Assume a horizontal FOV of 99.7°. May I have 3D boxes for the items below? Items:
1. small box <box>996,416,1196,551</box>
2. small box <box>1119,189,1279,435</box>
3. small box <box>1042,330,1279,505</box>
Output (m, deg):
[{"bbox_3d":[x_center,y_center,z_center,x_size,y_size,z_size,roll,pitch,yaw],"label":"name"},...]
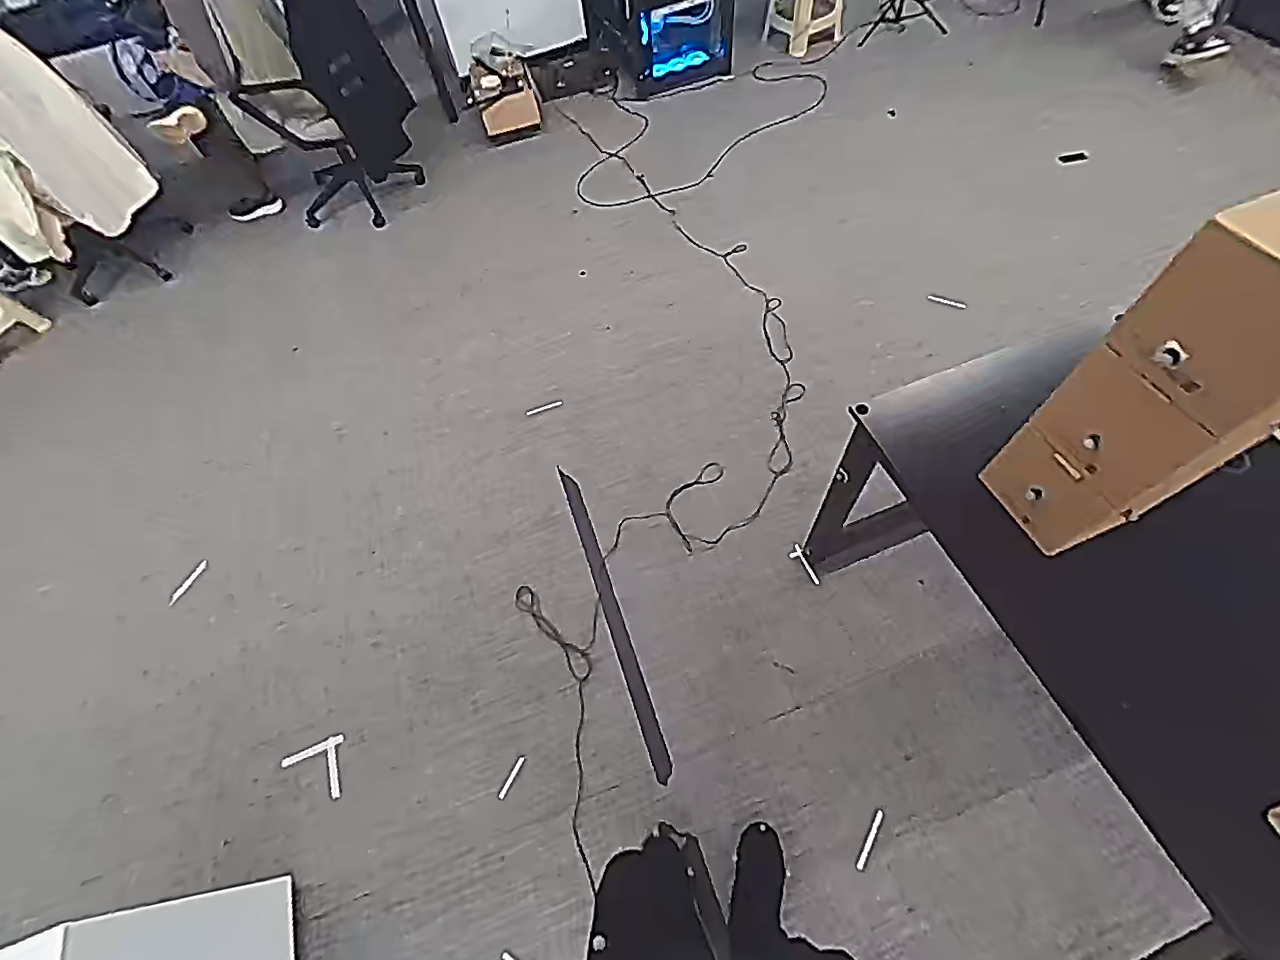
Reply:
[{"bbox_3d":[0.688,-0.014,0.826,0.179,0.176,0.168,-22,61,-6],"label":"small box"},{"bbox_3d":[0.657,-0.175,0.543,0.179,0.176,0.168,-22,59,-6],"label":"small box"},{"bbox_3d":[0.674,-0.096,0.684,0.179,0.176,0.168,-22,60,-6],"label":"small box"}]
